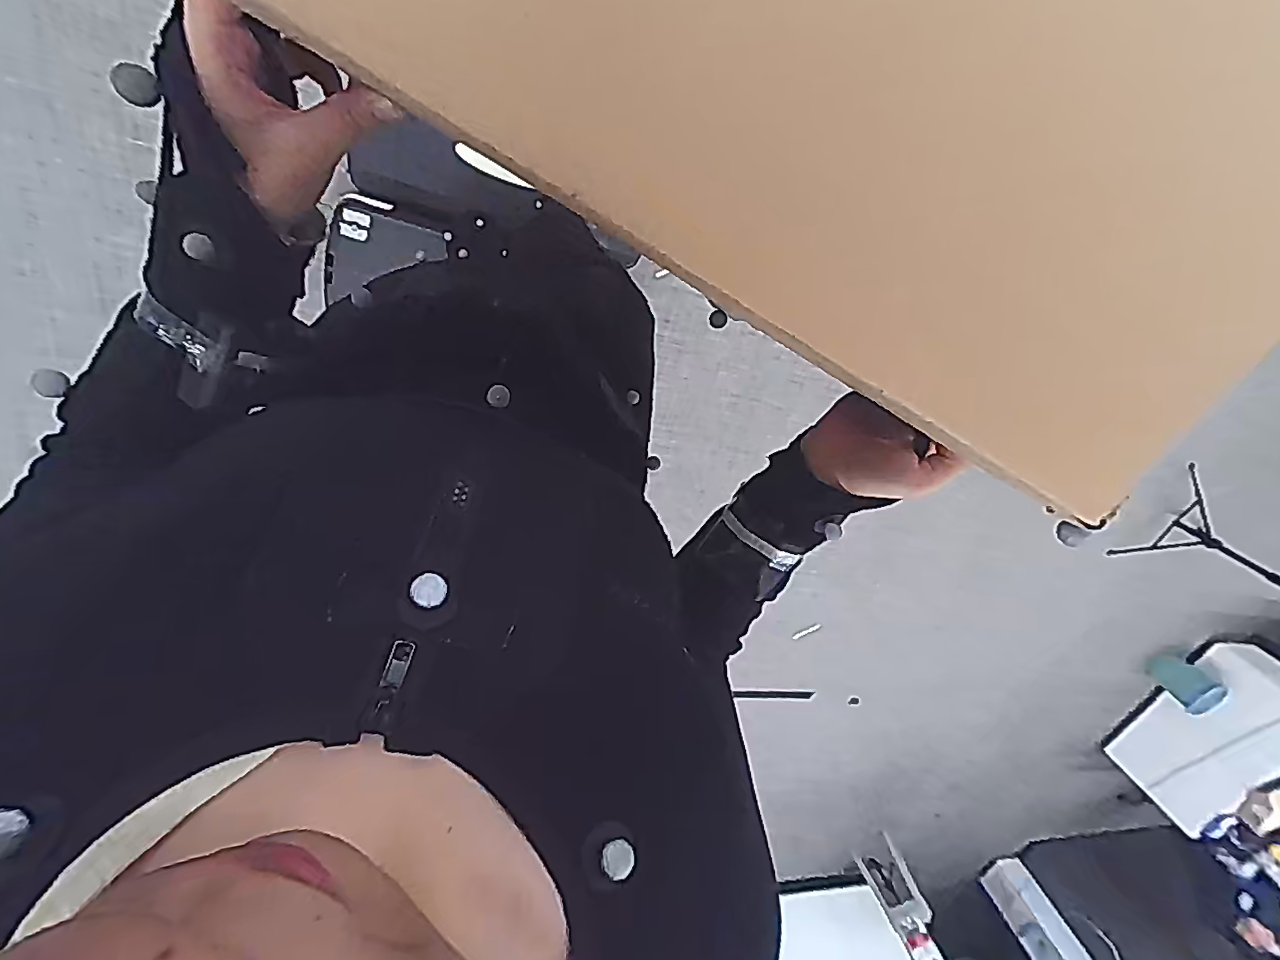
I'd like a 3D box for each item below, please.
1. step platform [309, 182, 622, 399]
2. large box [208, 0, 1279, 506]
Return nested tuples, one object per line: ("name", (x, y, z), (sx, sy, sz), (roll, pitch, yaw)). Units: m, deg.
("step platform", (-0.389, -0.429, 1.290), (0.684, 0.204, 0.286), (15, 116, -21))
("large box", (0.073, -0.255, 0.248), (0.408, 0.320, 0.320), (25, 113, -15))
